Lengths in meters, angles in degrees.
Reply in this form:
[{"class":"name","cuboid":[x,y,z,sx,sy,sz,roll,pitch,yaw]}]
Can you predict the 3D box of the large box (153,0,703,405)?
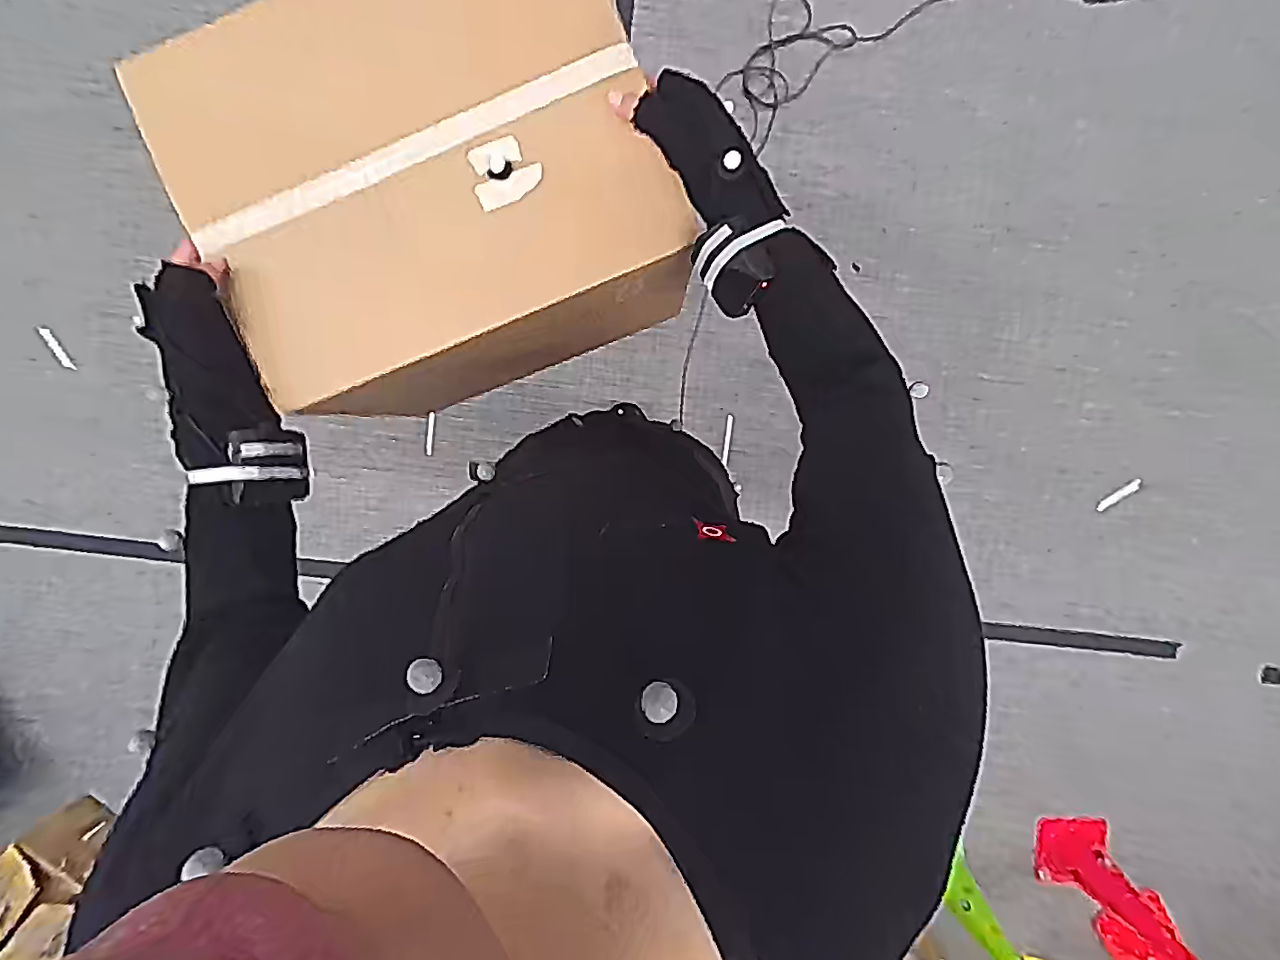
[{"class":"large box","cuboid":[-0.180,-0.303,0.612,0.408,0.320,0.320,-21,96,2]}]
